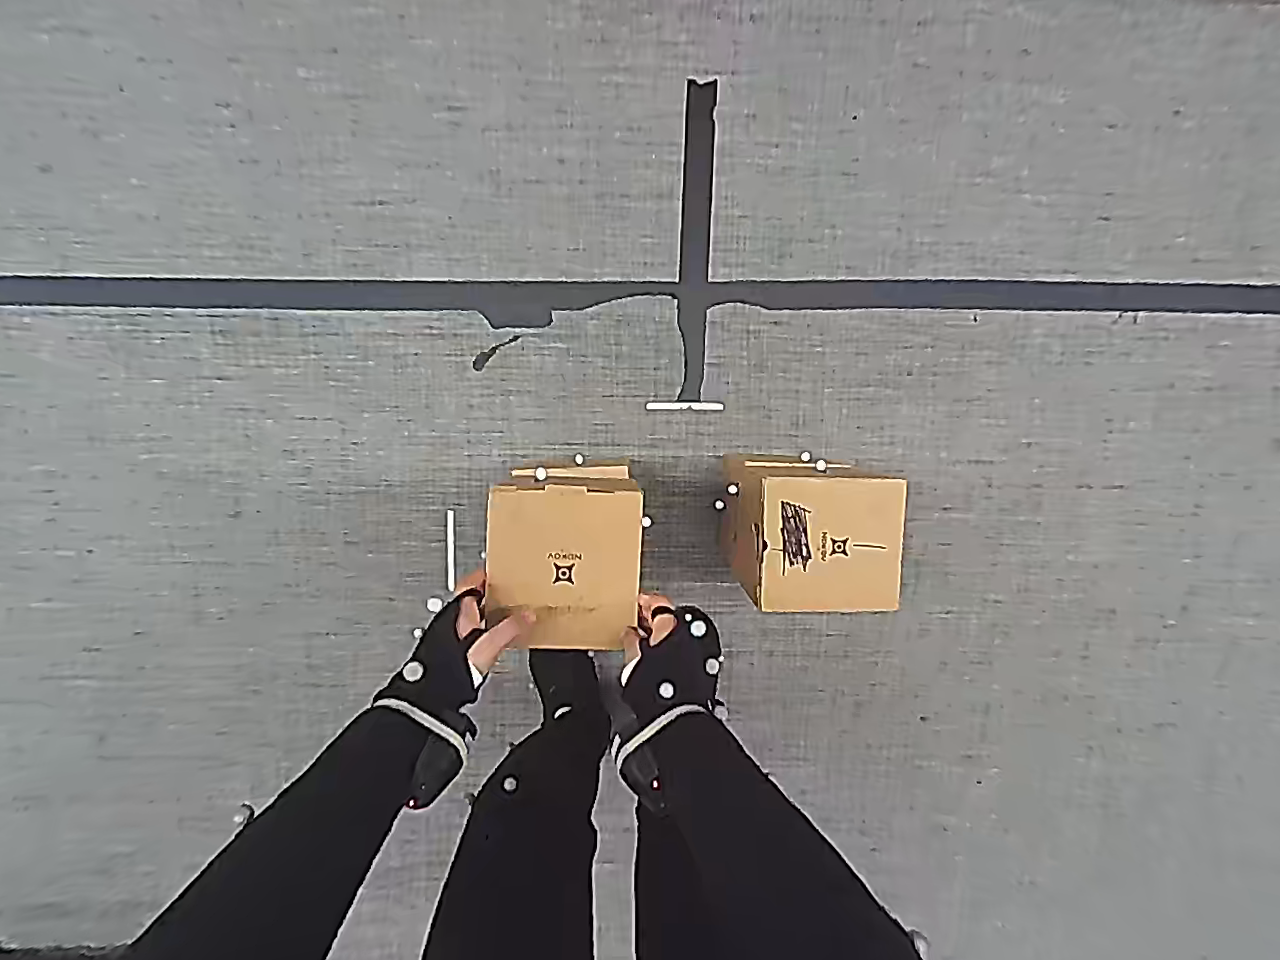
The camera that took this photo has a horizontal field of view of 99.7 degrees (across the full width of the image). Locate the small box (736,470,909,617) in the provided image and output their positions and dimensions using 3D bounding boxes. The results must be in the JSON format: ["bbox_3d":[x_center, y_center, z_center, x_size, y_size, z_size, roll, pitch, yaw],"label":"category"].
[{"bbox_3d":[0.231,0.077,0.728,0.179,0.176,0.168,0,96,-2],"label":"small box"}]

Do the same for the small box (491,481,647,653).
[{"bbox_3d":[-0.081,0.095,0.660,0.168,0.176,0.179,1,95,-3],"label":"small box"}]

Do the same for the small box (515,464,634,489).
[{"bbox_3d":[-0.097,0.063,0.884,0.179,0.176,0.168,-2,96,0],"label":"small box"}]

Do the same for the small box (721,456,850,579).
[{"bbox_3d":[0.231,0.059,0.894,0.168,0.176,0.179,2,97,-2],"label":"small box"}]
